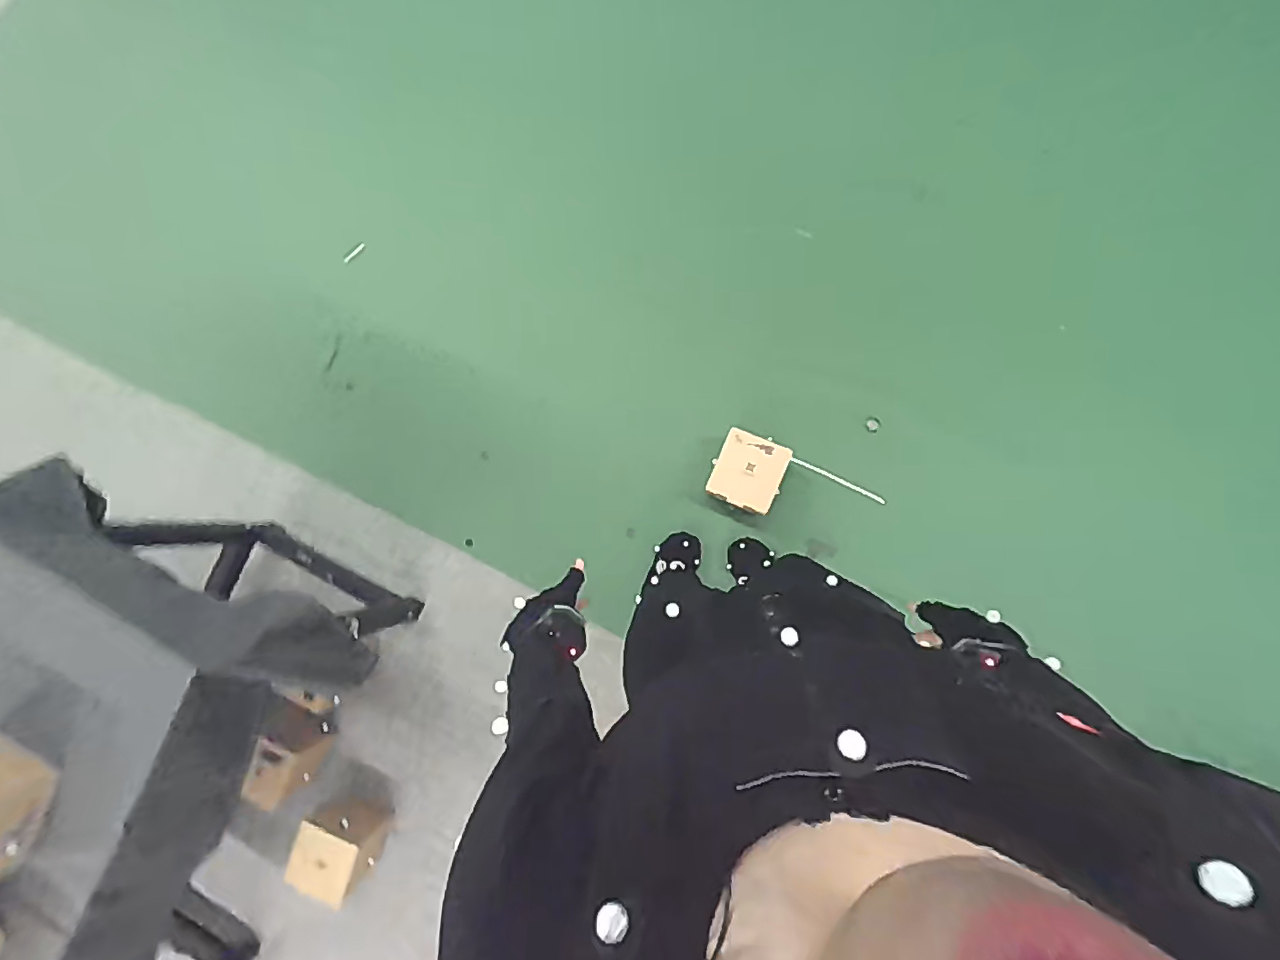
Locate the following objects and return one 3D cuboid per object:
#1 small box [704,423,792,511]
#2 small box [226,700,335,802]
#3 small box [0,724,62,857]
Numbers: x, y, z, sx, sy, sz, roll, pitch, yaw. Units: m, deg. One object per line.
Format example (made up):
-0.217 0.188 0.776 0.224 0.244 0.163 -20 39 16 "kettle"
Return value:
0.281 -0.029 1.415 0.168 0.176 0.179 25 91 9 "small box"
-1.013 0.760 1.541 0.168 0.176 0.179 24 91 9 "small box"
-1.078 0.505 0.833 0.179 0.176 0.168 23 91 9 "small box"
